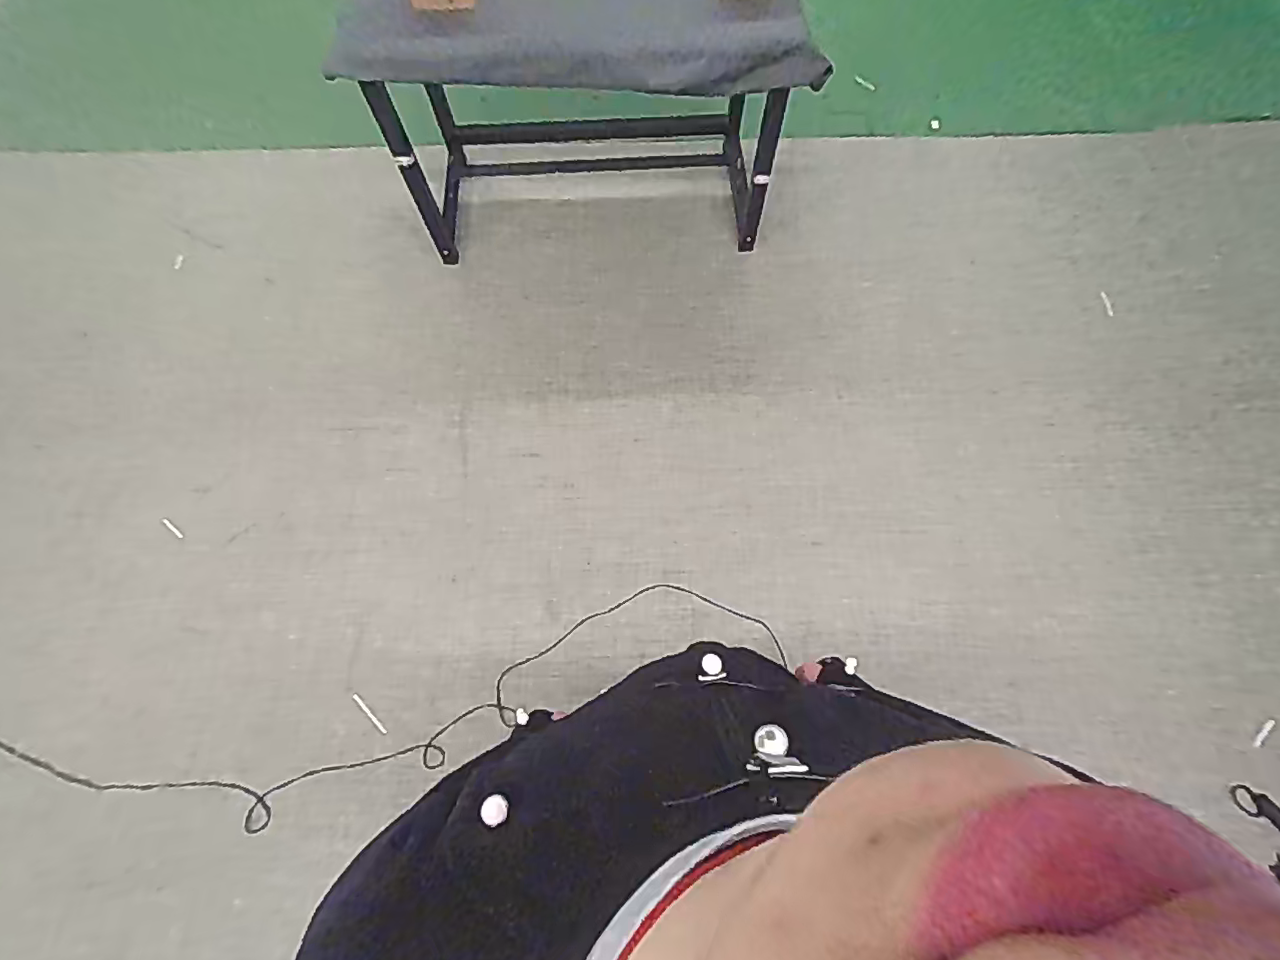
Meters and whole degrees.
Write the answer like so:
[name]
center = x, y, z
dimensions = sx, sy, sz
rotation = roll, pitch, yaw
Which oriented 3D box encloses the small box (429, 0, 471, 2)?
[small box]
center = -0.524, -1.374, 1.390
dimensions = 0.168, 0.176, 0.179
rotation = -3, 70, -2
